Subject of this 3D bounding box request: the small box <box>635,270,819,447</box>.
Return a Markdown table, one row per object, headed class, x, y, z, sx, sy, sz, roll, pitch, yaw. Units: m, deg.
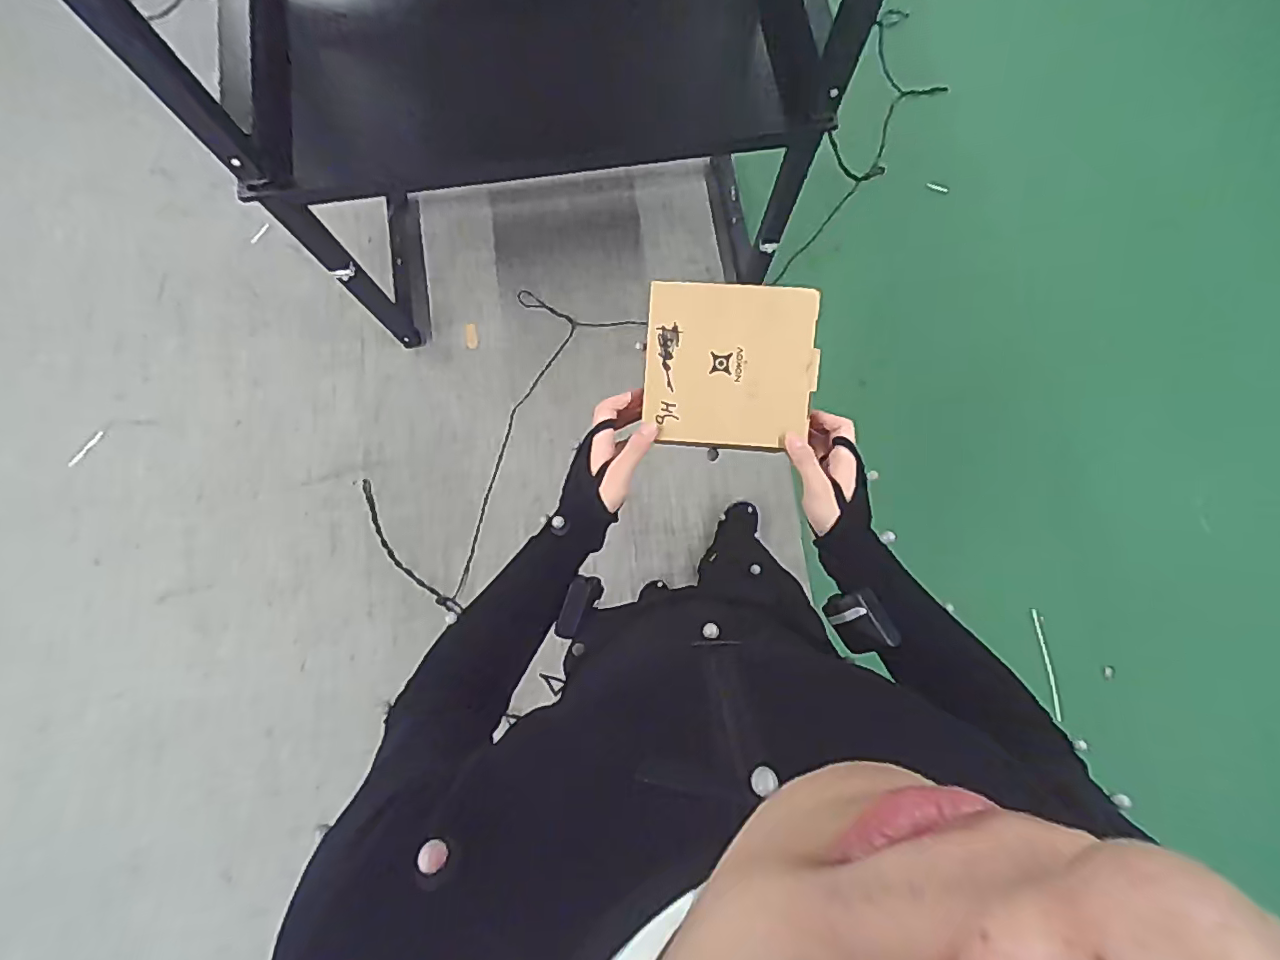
| class | x | y | z | sx | sy | sz | roll | pitch | yaw |
| --- | --- | --- | --- | --- | --- | --- | --- | --- | --- |
| small box | 0.090 | -0.128 | 0.630 | 0.179 | 0.176 | 0.168 | 5 | 91 | 2 |
